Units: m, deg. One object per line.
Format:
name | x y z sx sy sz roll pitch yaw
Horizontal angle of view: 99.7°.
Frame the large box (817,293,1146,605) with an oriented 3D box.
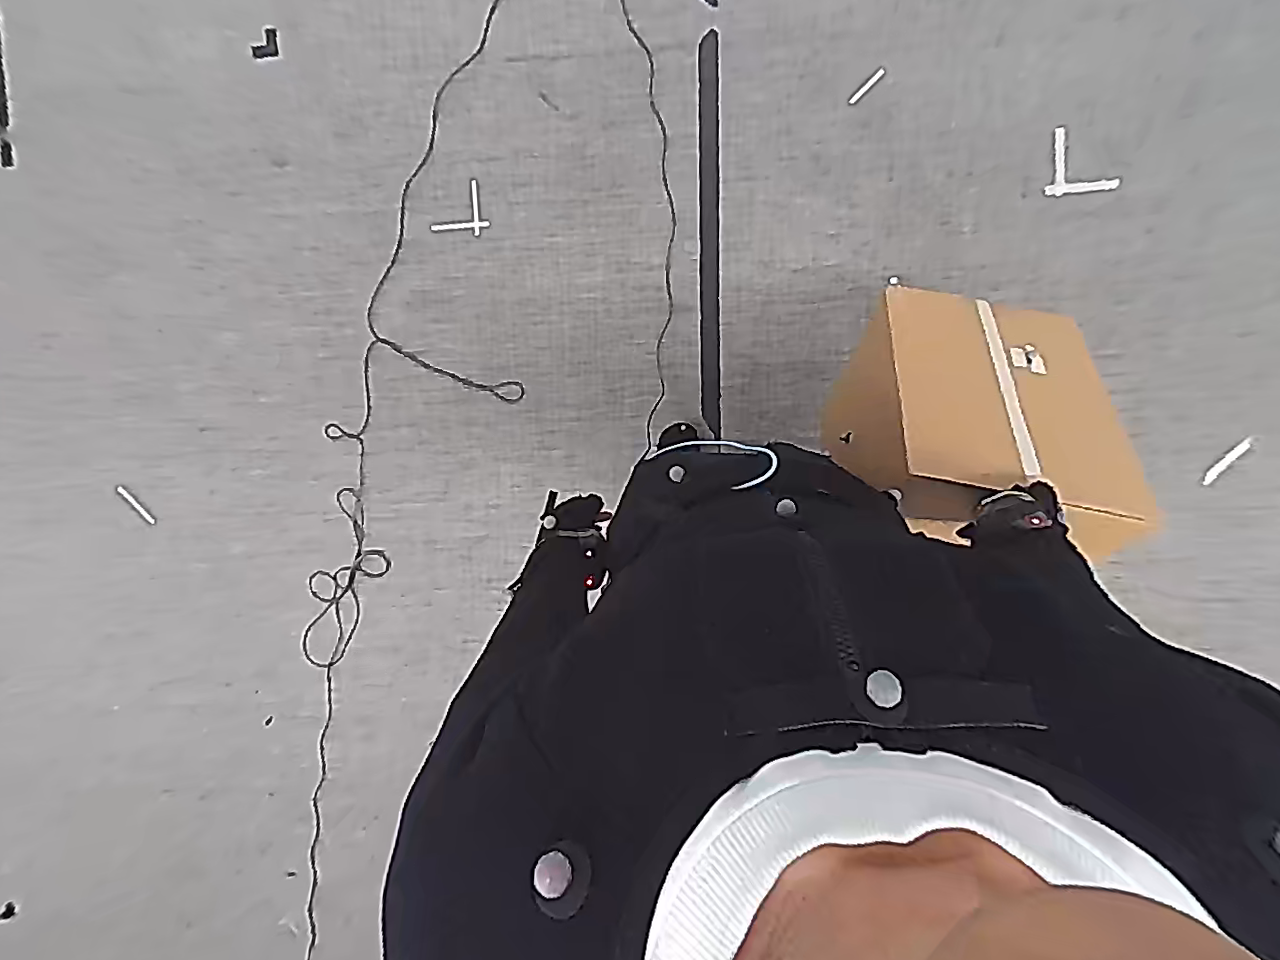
large box | 0.509 -0.049 0.920 0.320 0.320 0.408 11 54 1
